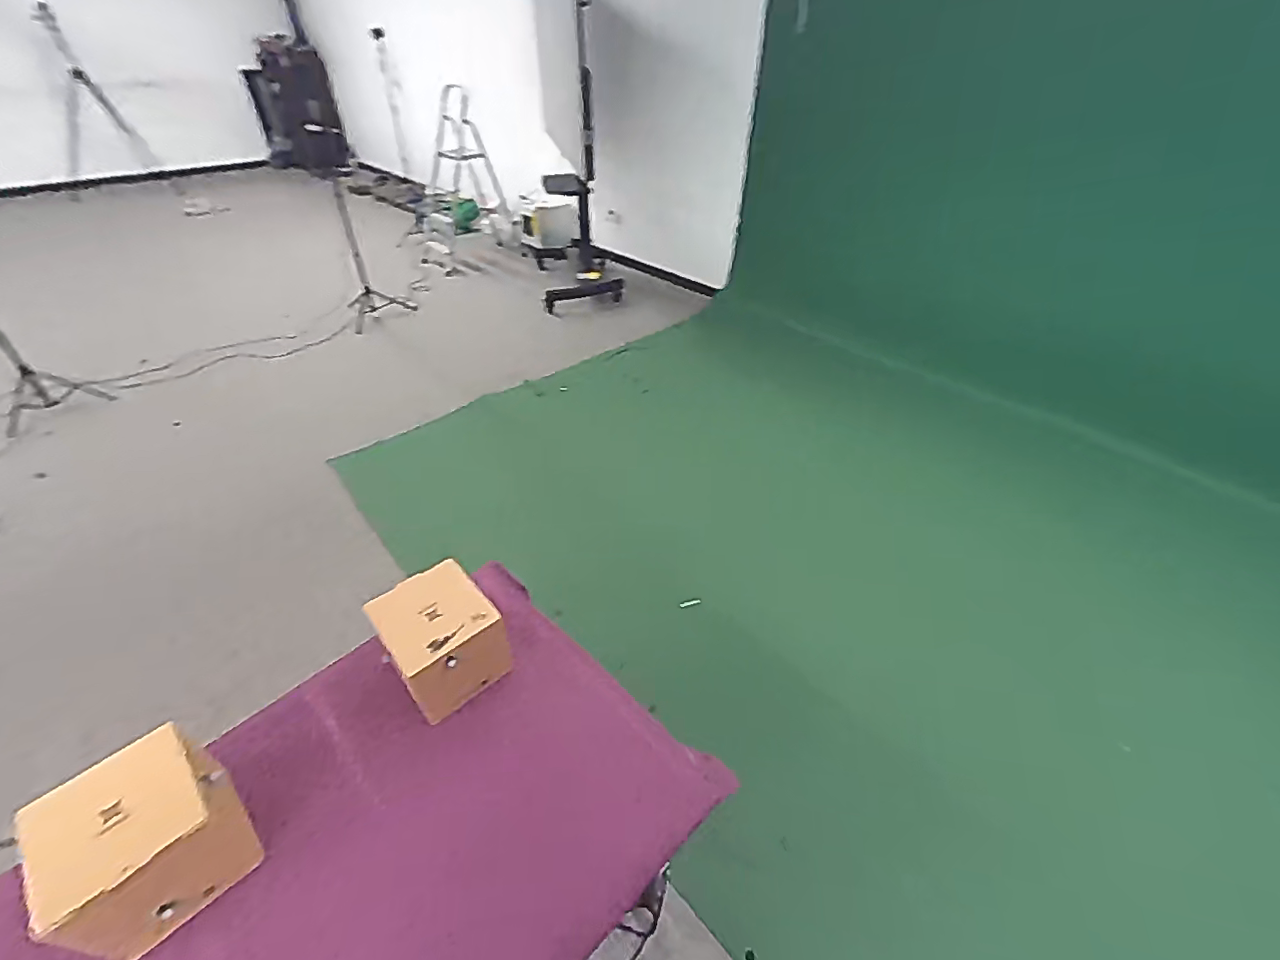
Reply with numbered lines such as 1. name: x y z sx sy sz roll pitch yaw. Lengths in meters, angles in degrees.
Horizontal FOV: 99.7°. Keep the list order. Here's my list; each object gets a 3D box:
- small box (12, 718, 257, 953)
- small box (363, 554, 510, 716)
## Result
1. small box: -0.649 0.465 0.710 0.179 0.176 0.168 34 49 30
2. small box: -0.348 0.270 0.947 0.168 0.176 0.179 -31 51 -31
